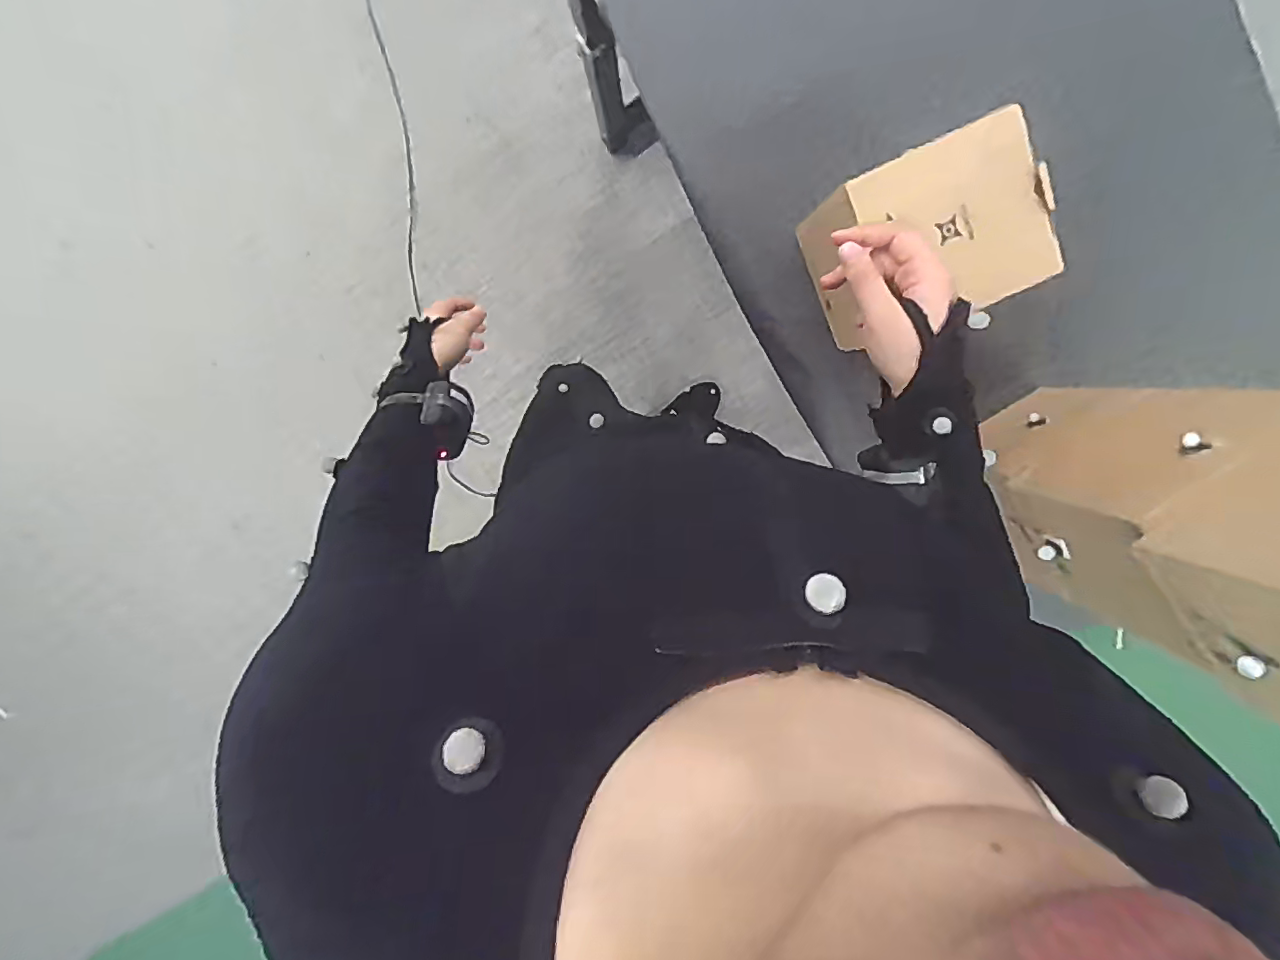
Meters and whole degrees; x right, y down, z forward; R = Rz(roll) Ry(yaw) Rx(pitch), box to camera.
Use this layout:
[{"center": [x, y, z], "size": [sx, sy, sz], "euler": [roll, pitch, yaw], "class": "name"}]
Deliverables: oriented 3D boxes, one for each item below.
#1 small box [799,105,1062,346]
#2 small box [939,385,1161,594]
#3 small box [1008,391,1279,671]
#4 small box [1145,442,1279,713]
[{"center": [0.305, -0.261, 0.602], "size": [0.179, 0.176, 0.168], "euler": [-24, 100, 4], "class": "small box"}, {"center": [0.497, 0.003, 0.648], "size": [0.179, 0.176, 0.168], "euler": [-32, 98, 4], "class": "small box"}, {"center": [0.491, 0.030, 0.487], "size": [0.179, 0.176, 0.168], "euler": [-34, 97, 6], "class": "small box"}, {"center": [0.486, 0.066, 0.326], "size": [0.179, 0.176, 0.168], "euler": [-39, 96, 6], "class": "small box"}]
